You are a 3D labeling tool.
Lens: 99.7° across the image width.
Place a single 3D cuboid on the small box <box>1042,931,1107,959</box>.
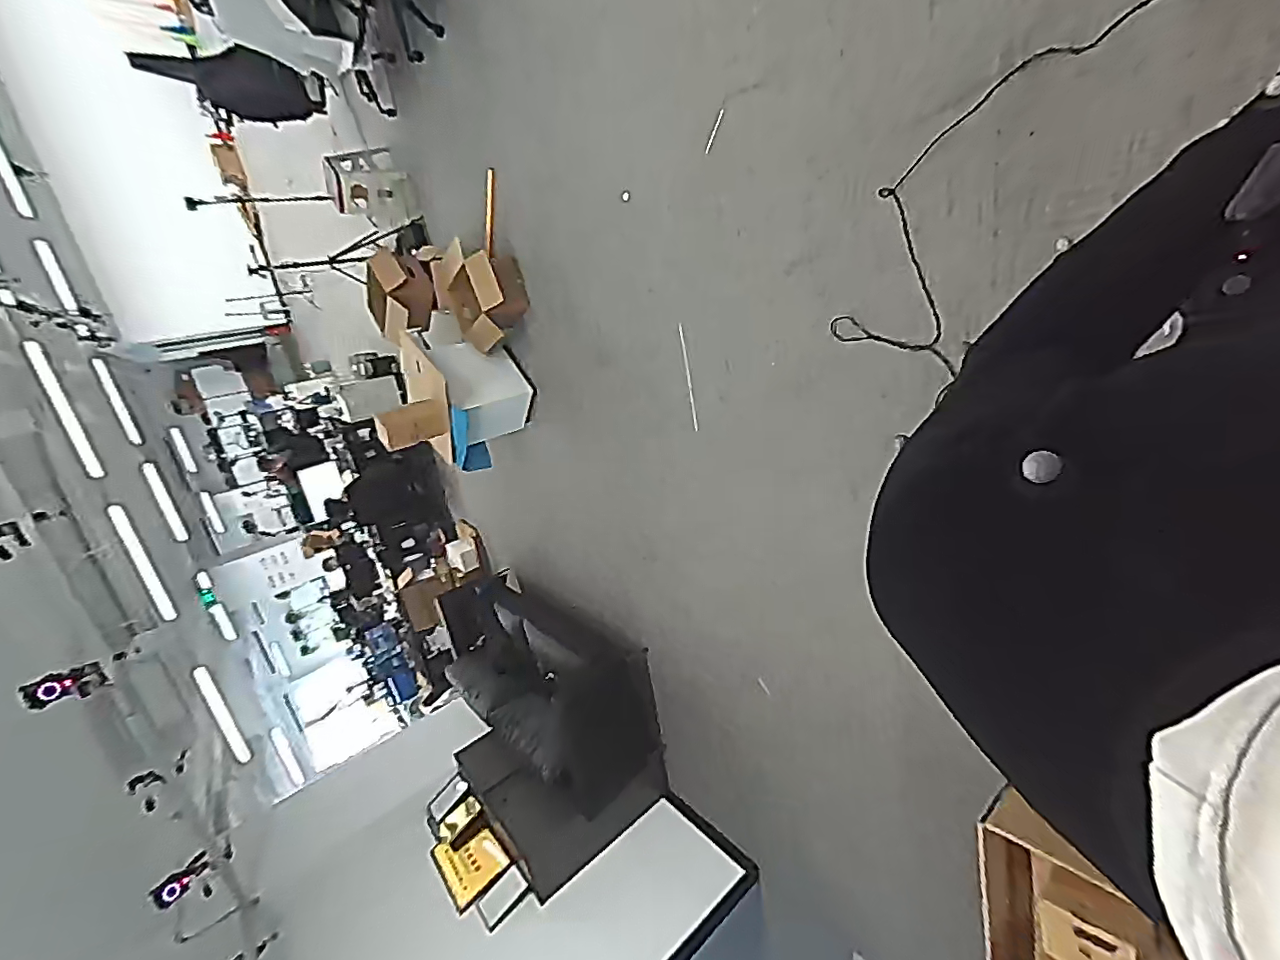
[{"bbox_3d":[1.076,1.254,1.297,0.179,0.176,0.168,3,113,53],"label":"small box"}]
